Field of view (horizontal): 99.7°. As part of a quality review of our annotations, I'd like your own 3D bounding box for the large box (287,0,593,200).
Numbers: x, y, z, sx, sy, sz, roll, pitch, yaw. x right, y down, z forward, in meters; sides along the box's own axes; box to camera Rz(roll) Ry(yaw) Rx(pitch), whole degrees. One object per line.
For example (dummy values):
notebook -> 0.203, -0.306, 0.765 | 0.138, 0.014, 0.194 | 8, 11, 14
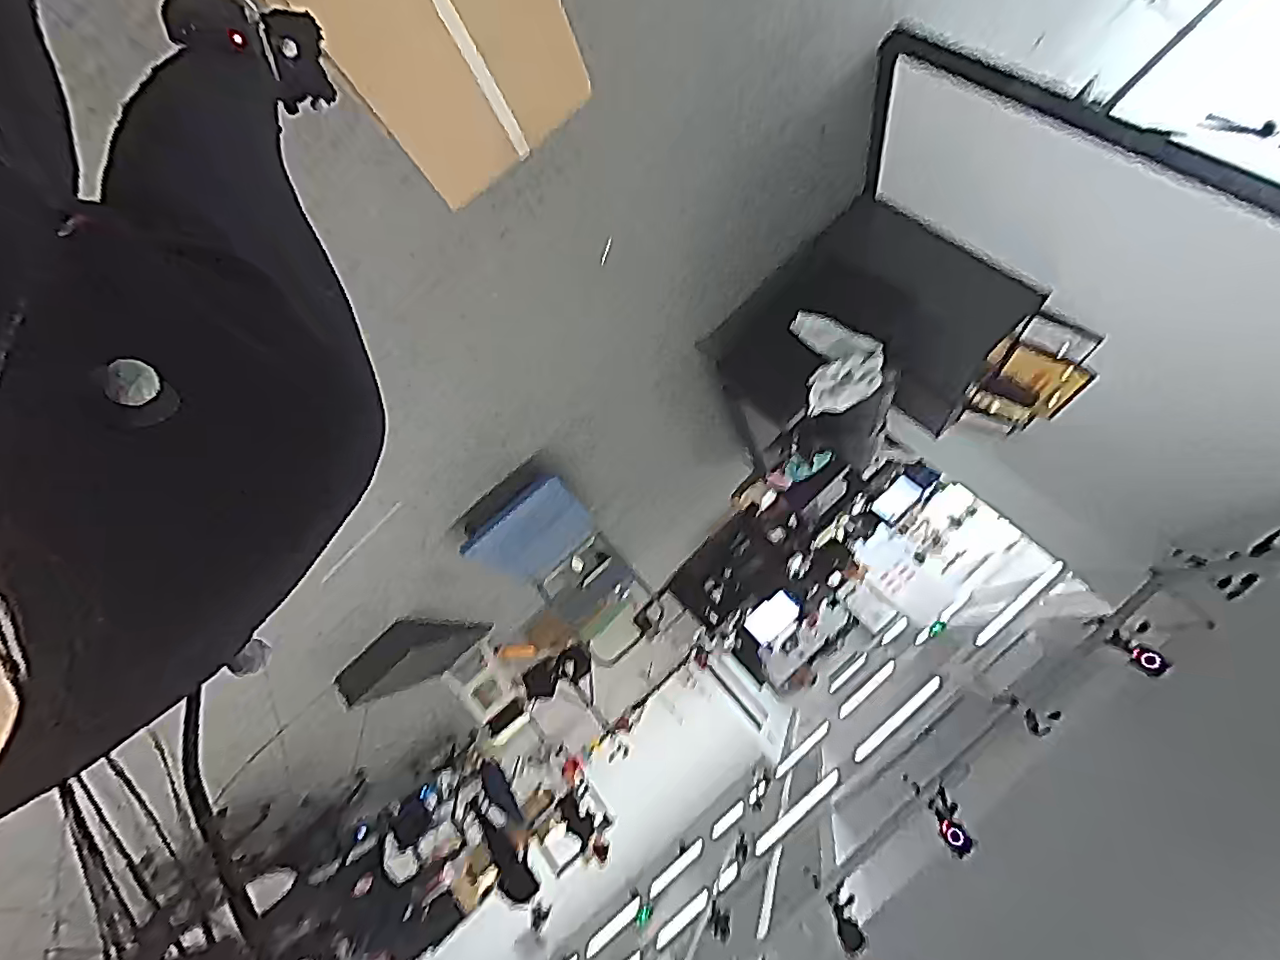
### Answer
large box -> -0.333, -0.724, 0.783 | 0.320, 0.320, 0.408 | -39, 156, 2
